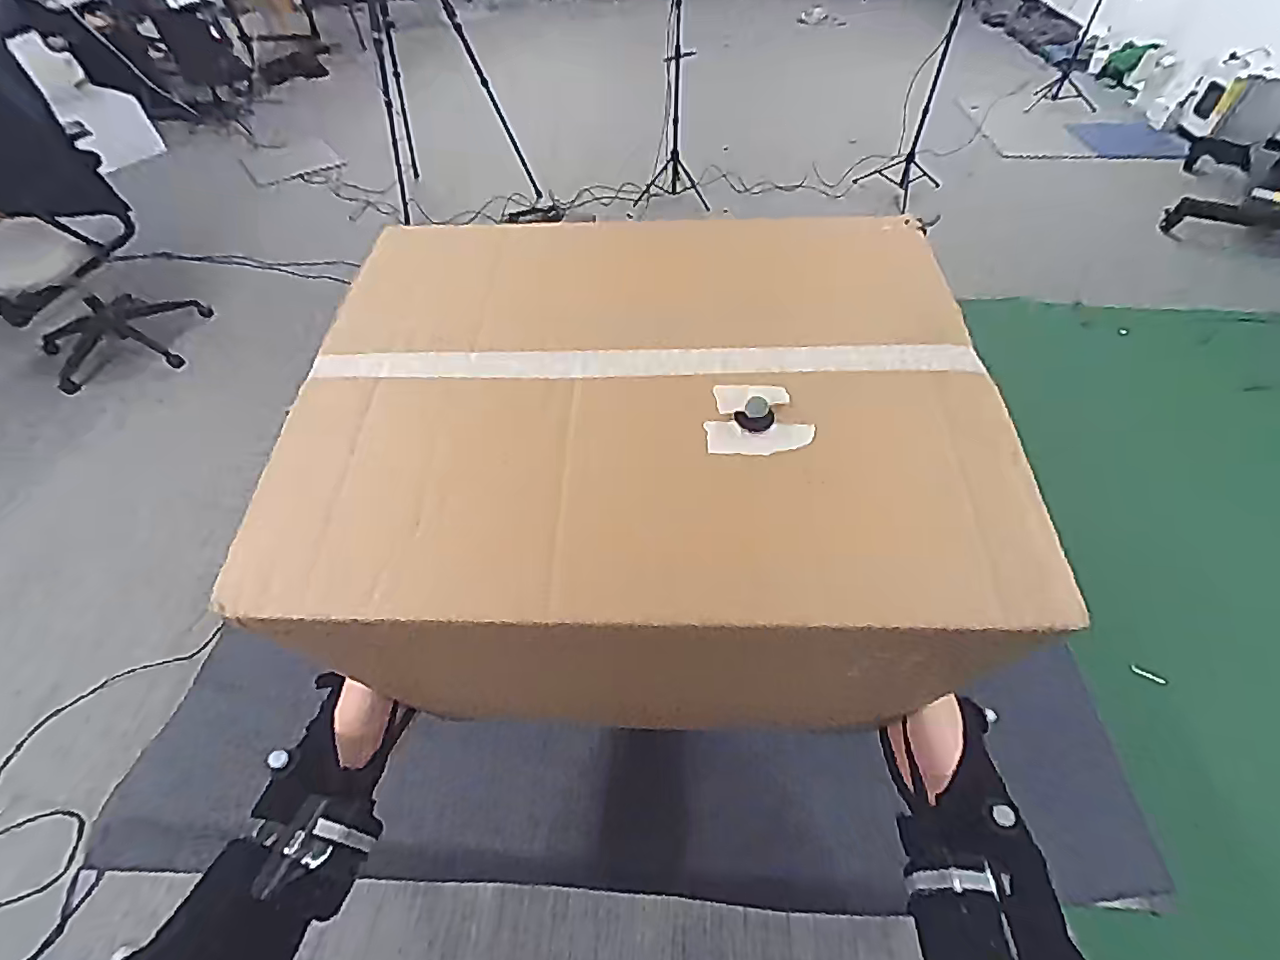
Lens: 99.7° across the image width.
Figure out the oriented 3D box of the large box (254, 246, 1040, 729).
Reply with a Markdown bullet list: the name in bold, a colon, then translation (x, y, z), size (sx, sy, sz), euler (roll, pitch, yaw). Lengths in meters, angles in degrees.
- **large box**: translation (0.004, 0.026, 0.473), size (0.408, 0.320, 0.320), euler (0, 58, 2)
